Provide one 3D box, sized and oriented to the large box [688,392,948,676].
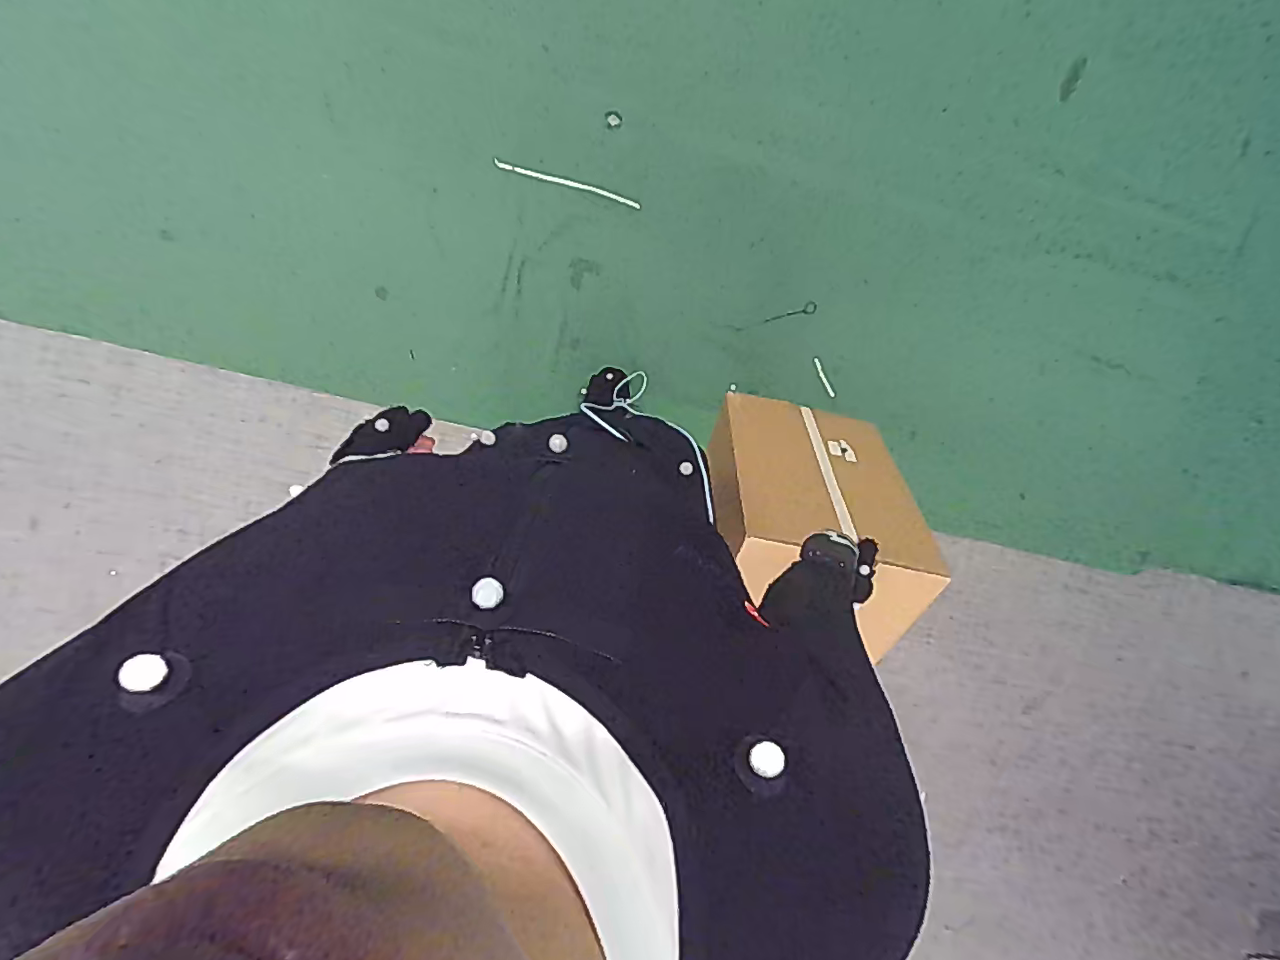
[{"bbox_3d":[0.279,0.093,1.012,0.320,0.408,0.320,13,128,-6],"label":"large box"}]
